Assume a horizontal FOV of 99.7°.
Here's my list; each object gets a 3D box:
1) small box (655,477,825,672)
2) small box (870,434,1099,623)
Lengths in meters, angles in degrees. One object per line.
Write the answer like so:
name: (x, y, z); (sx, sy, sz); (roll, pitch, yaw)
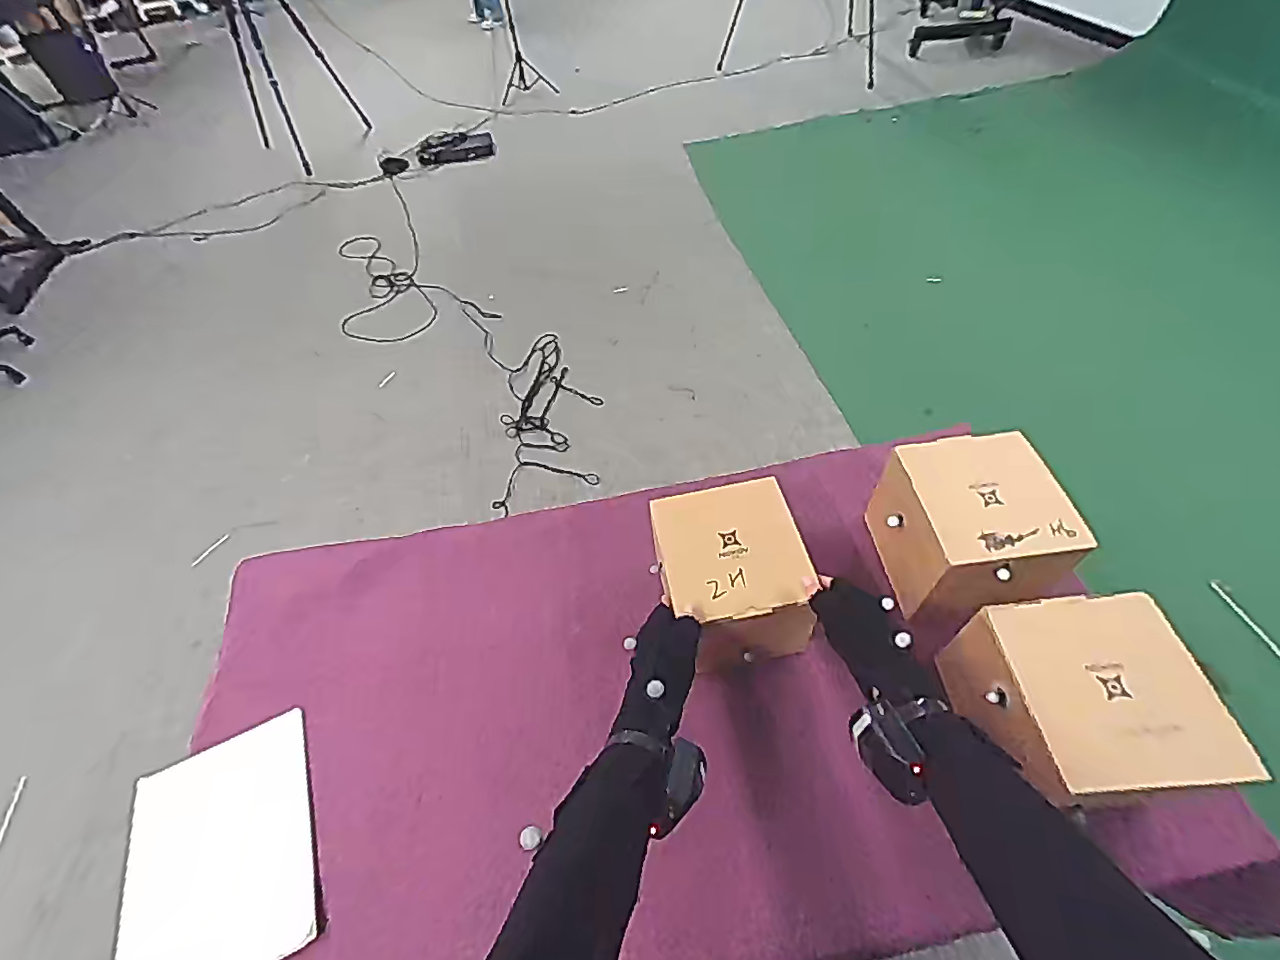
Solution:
small box: (0.115, 0.125, 0.697); (0.168, 0.176, 0.179); (-11, 54, -1)
small box: (0.422, 0.066, 0.705); (0.168, 0.176, 0.179); (-7, 53, 2)
